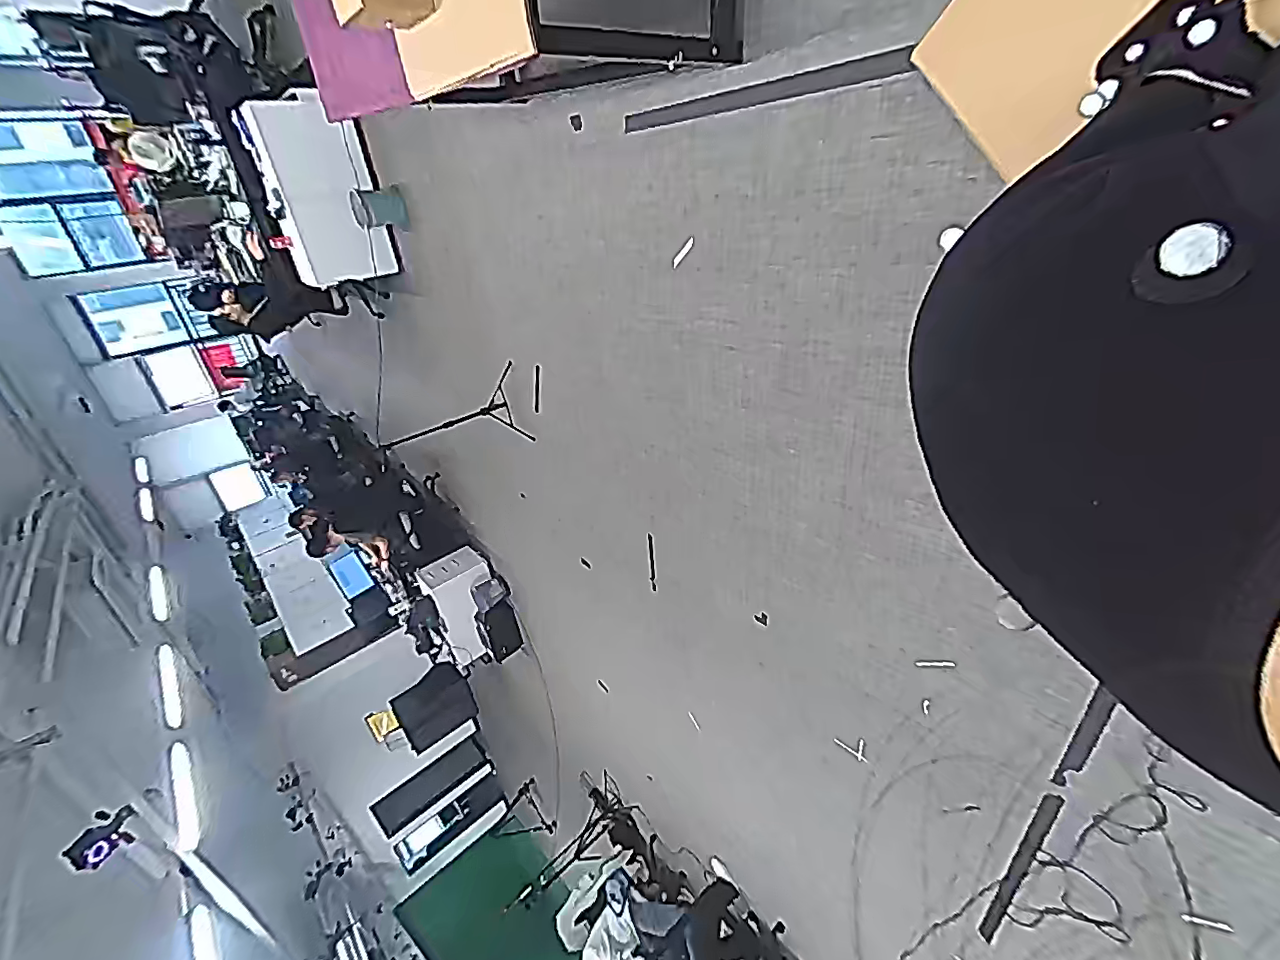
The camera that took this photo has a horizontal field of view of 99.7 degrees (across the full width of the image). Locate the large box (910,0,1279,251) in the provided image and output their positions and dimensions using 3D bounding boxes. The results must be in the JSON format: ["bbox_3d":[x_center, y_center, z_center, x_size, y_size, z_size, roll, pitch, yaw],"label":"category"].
[{"bbox_3d":[0.635,-0.516,0.660,0.320,0.408,0.320,-46,61,54],"label":"large box"}]
